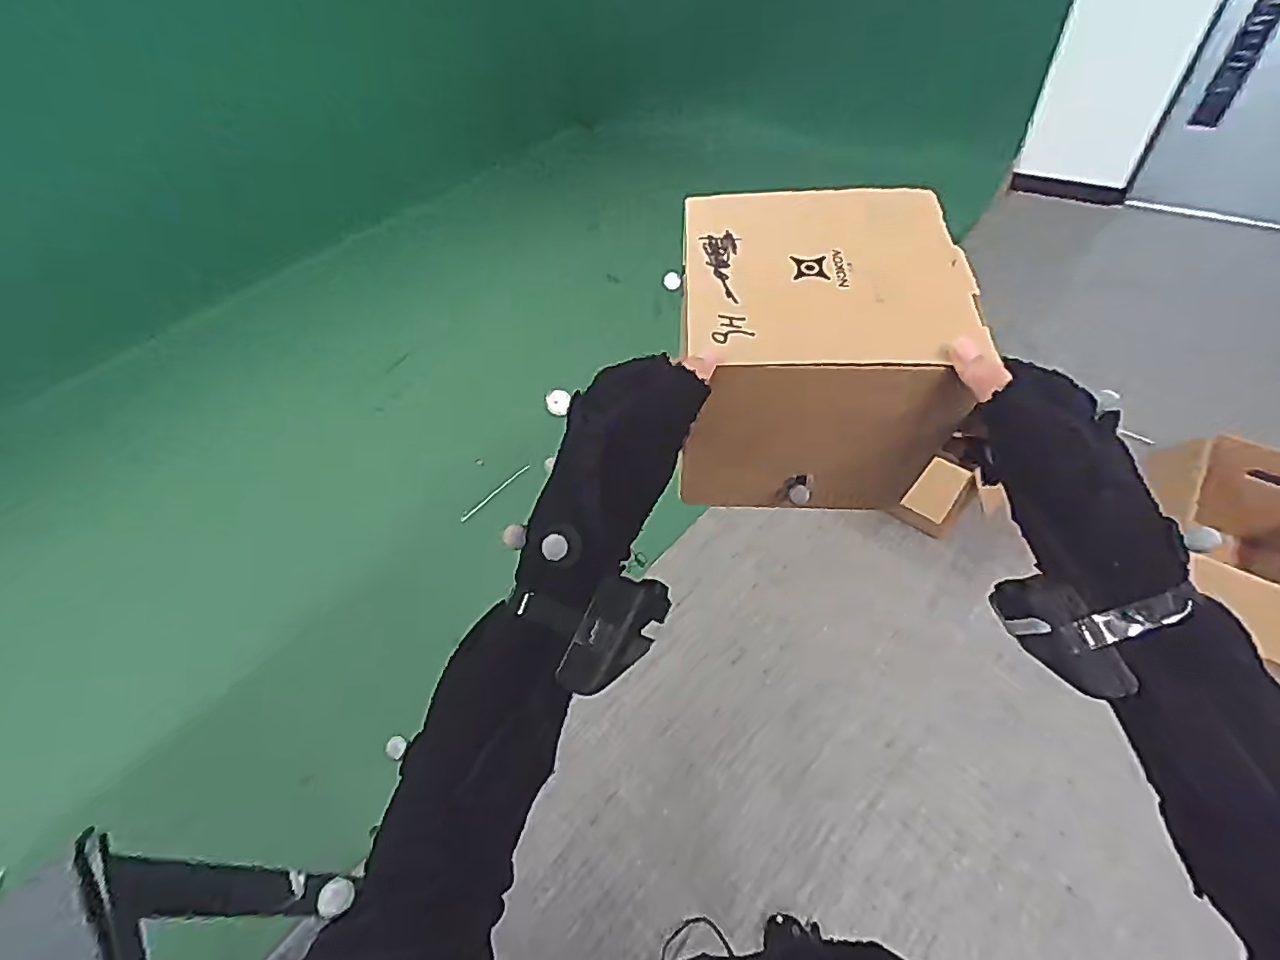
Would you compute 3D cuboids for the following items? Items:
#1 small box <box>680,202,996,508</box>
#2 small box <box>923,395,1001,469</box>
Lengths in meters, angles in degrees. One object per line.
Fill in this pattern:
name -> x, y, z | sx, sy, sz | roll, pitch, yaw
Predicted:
small box -> 0.125, -0.088, 0.423 | 0.179, 0.176, 0.168 | 2, 57, 2
small box -> 0.877, -0.156, 1.548 | 0.168, 0.176, 0.179 | -38, 55, -21
